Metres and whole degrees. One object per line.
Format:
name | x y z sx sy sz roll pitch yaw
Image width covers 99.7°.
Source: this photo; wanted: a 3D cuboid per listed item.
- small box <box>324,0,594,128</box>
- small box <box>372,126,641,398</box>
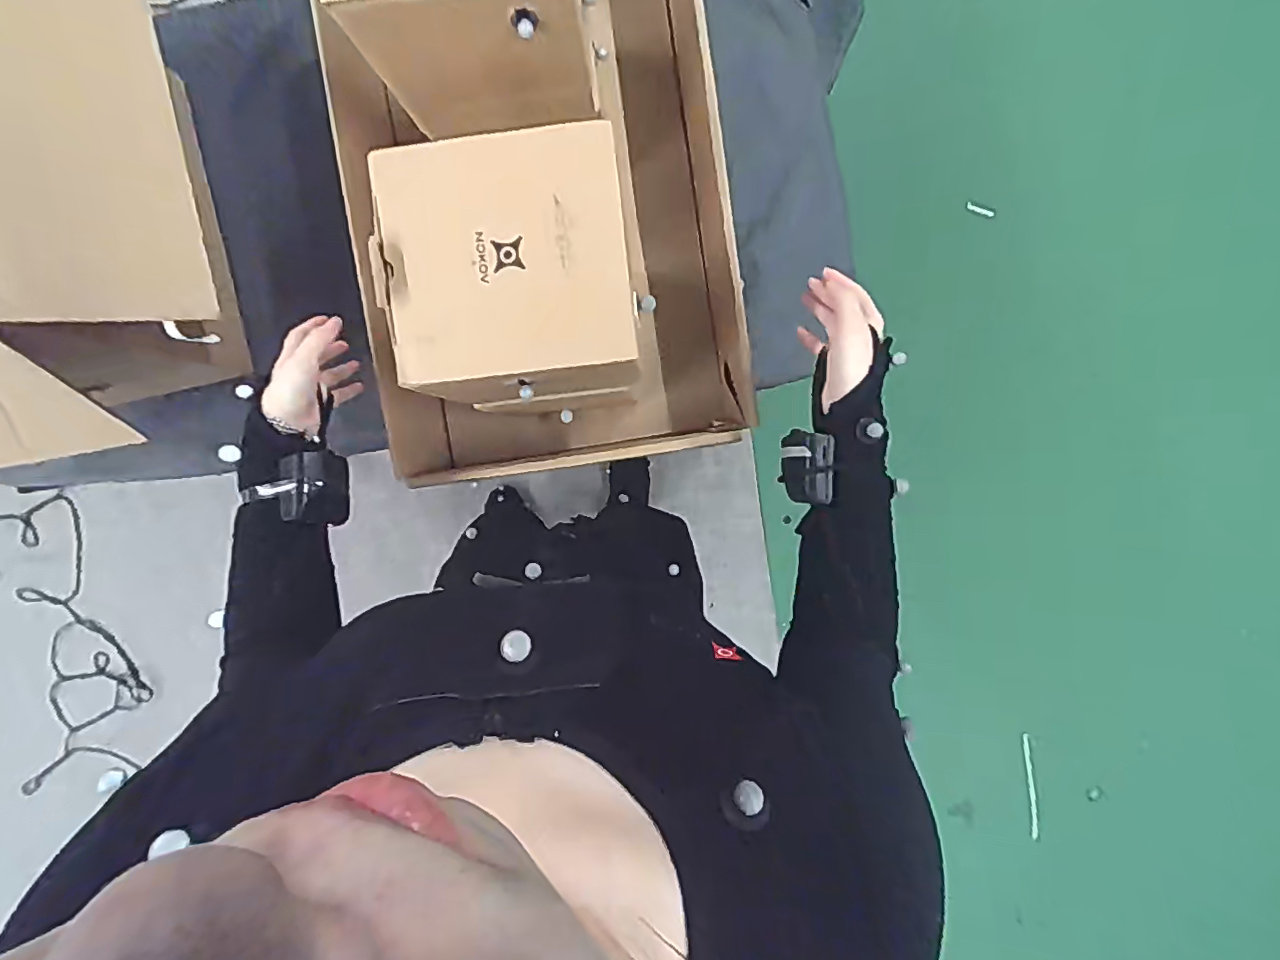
small box | -0.139 -0.421 0.445 0.179 0.176 0.168 -6 96 1
small box | -0.094 -0.164 0.465 0.179 0.176 0.168 -6 95 2
